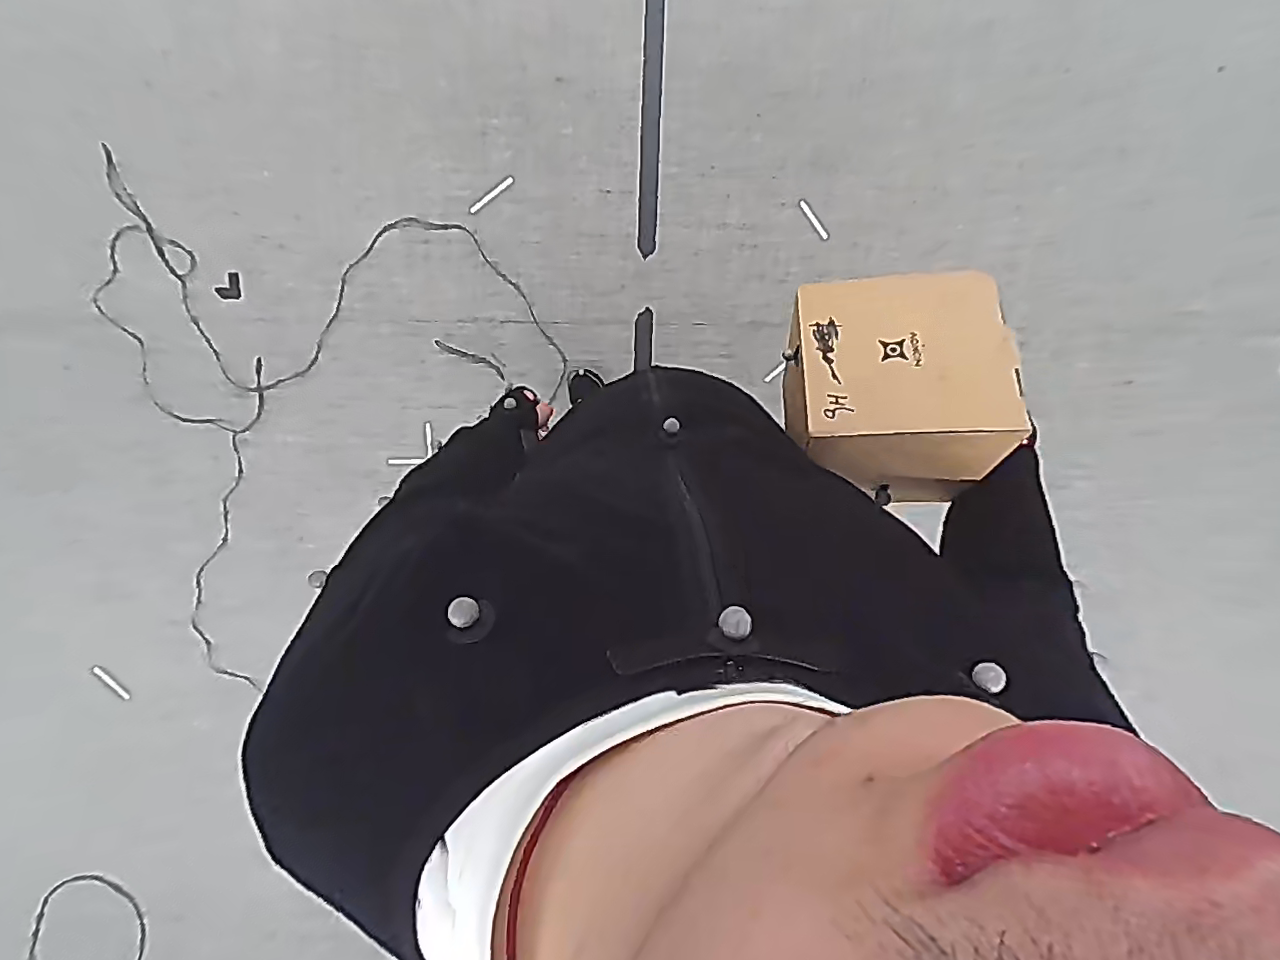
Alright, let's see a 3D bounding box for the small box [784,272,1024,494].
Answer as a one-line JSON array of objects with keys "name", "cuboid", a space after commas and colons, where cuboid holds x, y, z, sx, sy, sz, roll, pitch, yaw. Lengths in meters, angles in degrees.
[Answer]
[{"name": "small box", "cuboid": [0.251, -0.090, 0.563, 0.179, 0.176, 0.168, -1, 67, 9]}]
